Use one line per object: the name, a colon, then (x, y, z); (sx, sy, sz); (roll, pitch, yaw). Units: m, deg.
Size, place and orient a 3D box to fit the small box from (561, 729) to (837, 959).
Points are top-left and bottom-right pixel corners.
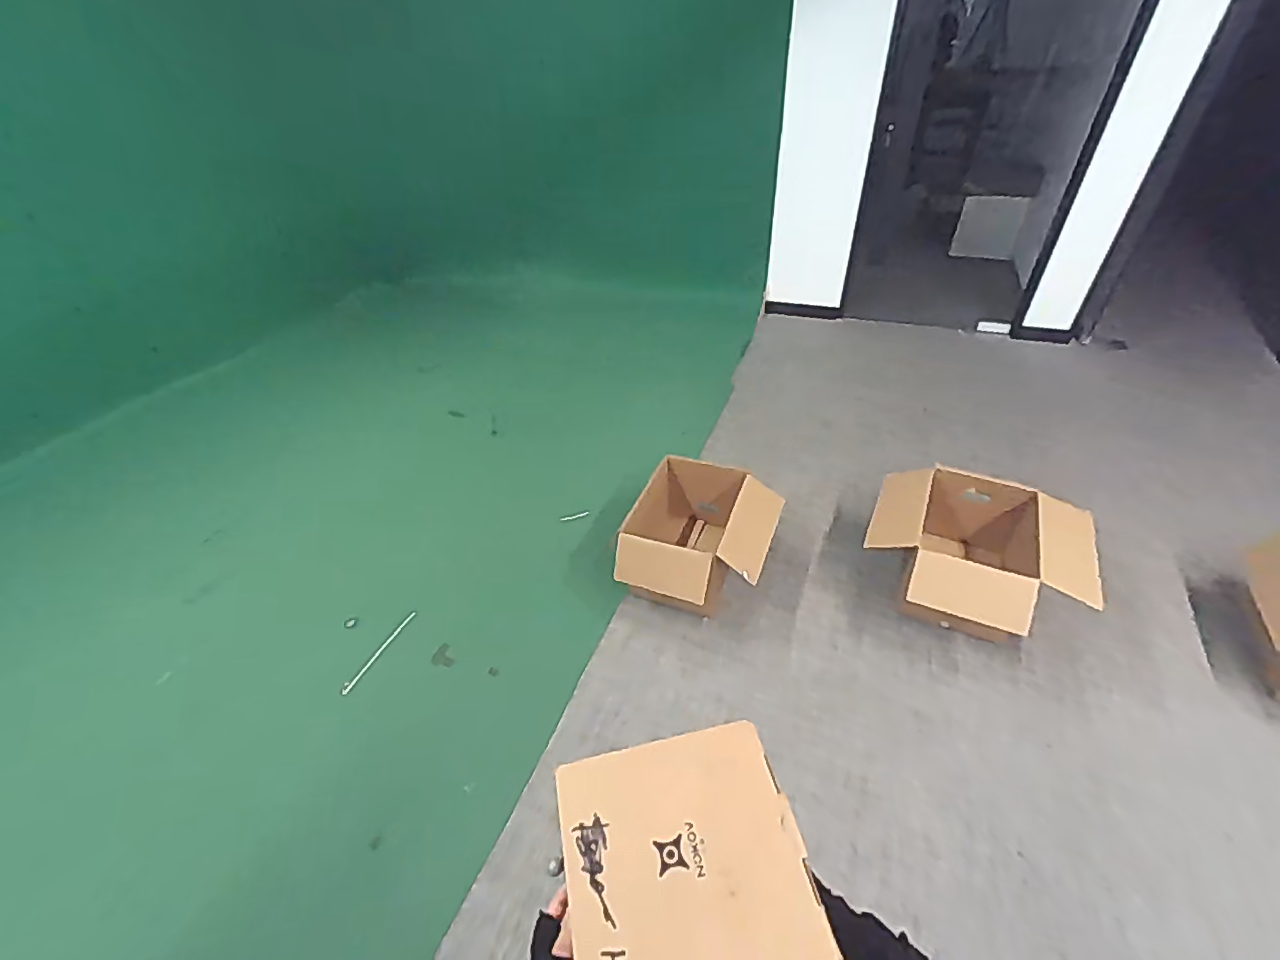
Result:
small box: (0.033, 0.341, 0.458); (0.179, 0.176, 0.168); (-8, 42, -8)
